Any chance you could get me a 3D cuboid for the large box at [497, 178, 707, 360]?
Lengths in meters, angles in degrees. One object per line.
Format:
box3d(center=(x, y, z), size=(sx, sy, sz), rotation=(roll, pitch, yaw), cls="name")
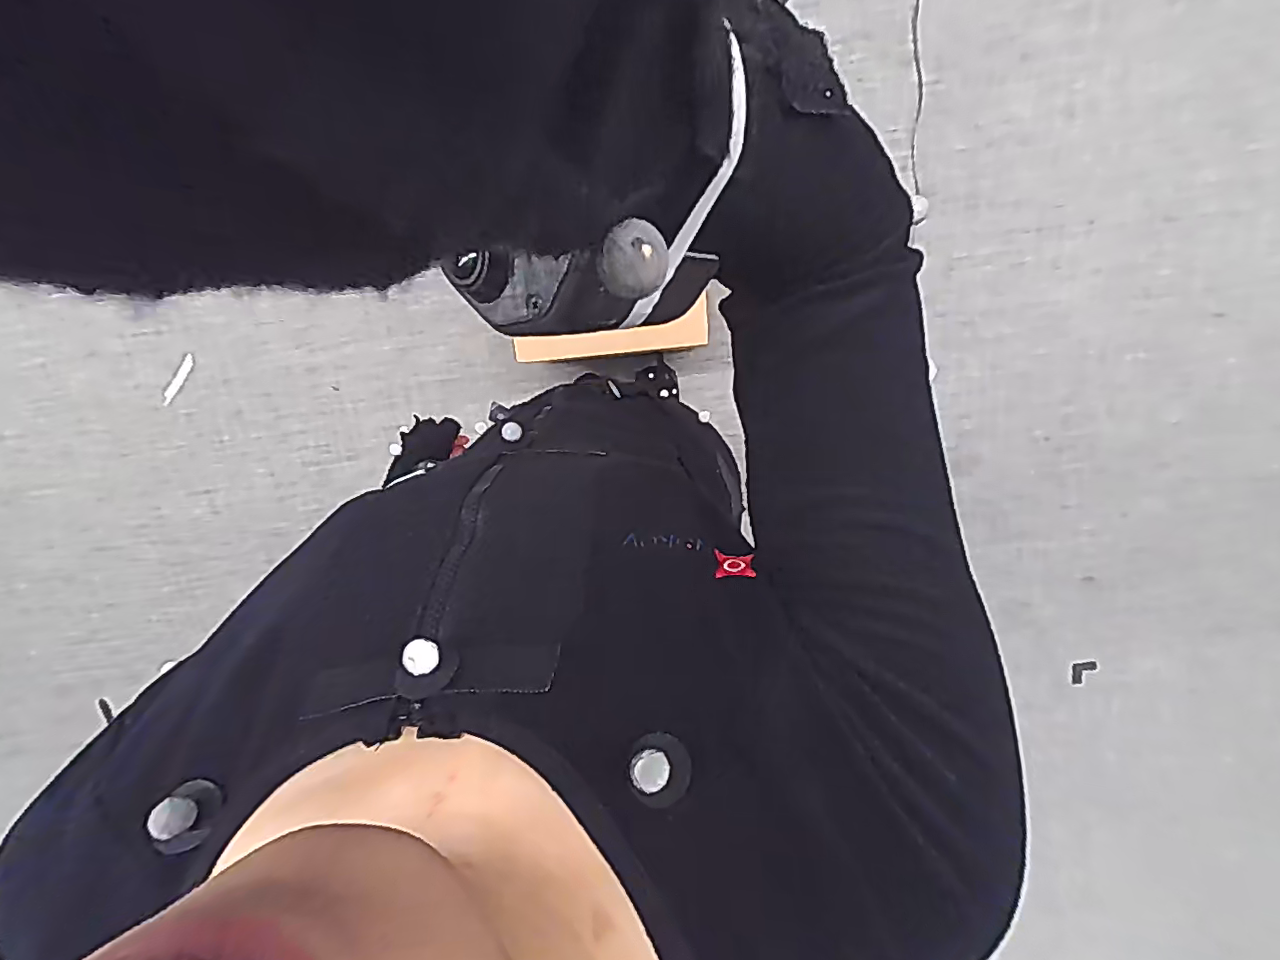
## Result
box3d(center=(-0.074, -0.456, 1.249), size=(0.408, 0.320, 0.320), rotation=(-6, 103, 2), cls="large box")
